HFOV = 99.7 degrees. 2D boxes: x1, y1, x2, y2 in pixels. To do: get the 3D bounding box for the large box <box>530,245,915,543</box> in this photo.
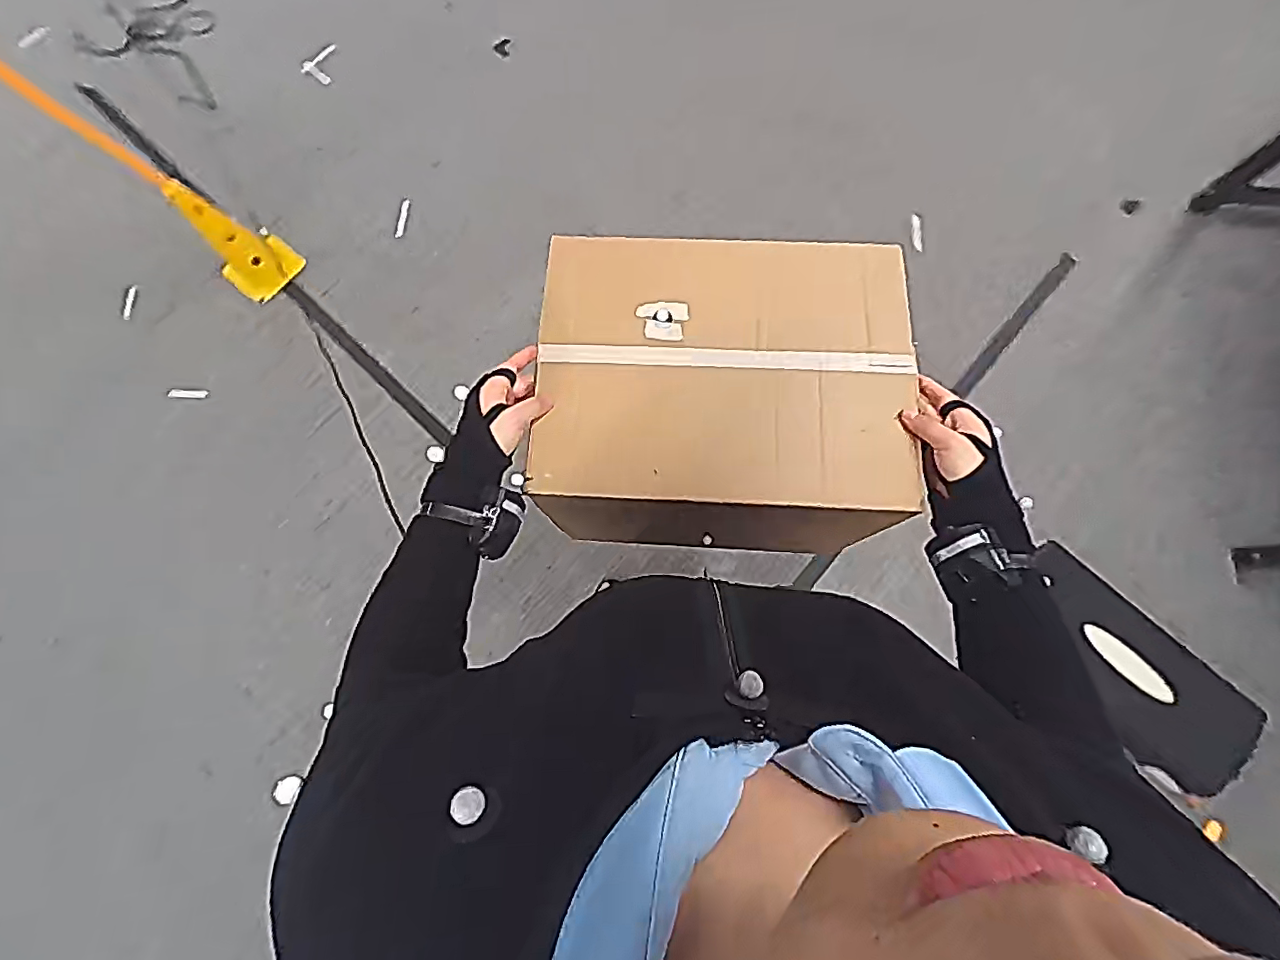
[{"bbox_3d":[0.093,-0.087,0.739,0.408,0.320,0.320,1,73,3],"label":"large box"}]
